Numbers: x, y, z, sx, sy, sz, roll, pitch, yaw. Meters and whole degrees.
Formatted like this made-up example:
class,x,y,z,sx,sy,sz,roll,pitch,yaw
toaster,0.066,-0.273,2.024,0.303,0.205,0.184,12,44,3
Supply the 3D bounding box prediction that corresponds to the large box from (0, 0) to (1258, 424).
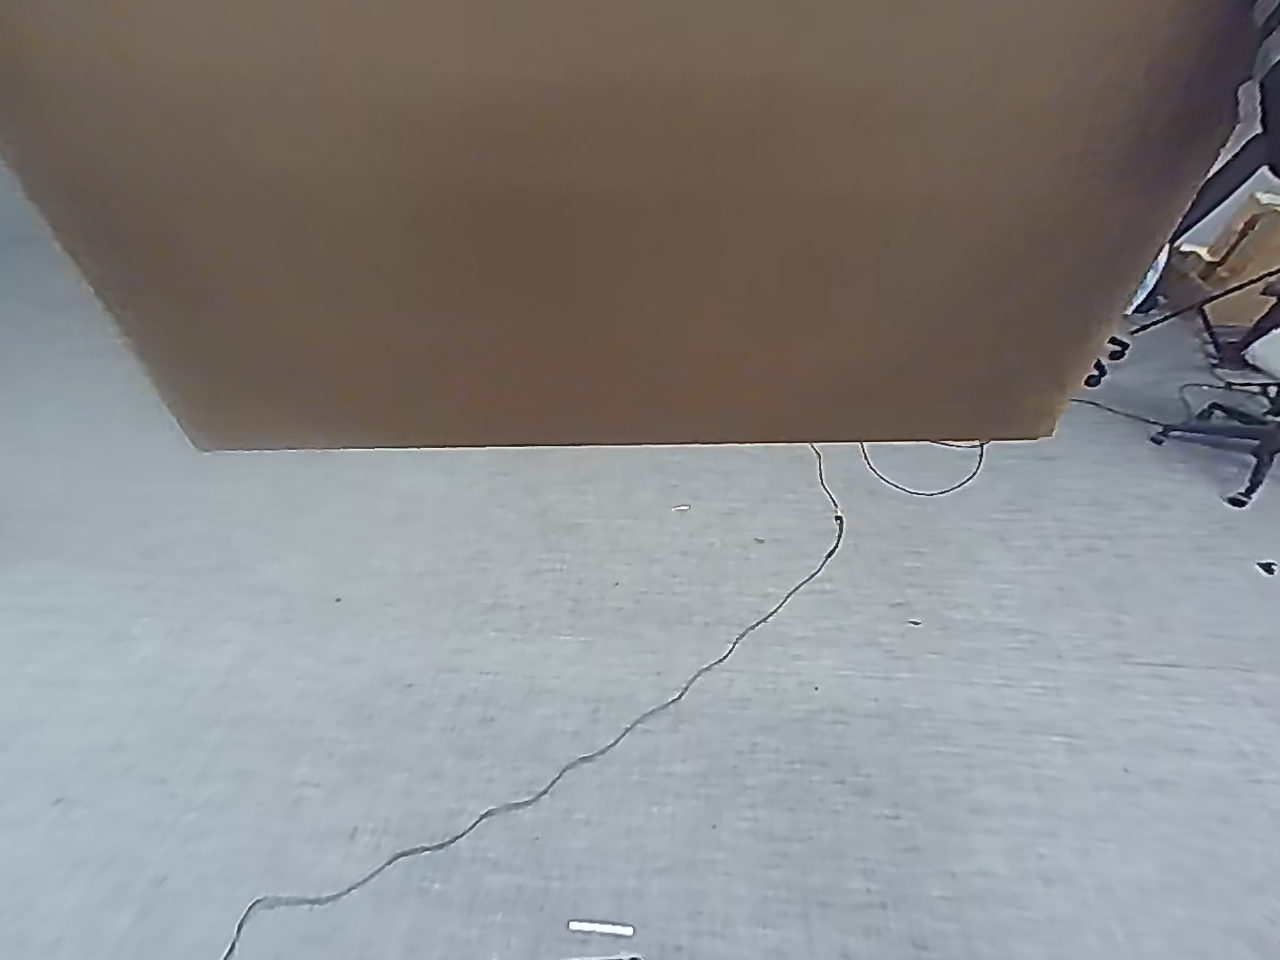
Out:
class,x,y,z,sx,sy,sz,roll,pitch,yaw
large box,-0.010,-0.237,0.276,0.408,0.320,0.320,0,41,-1
